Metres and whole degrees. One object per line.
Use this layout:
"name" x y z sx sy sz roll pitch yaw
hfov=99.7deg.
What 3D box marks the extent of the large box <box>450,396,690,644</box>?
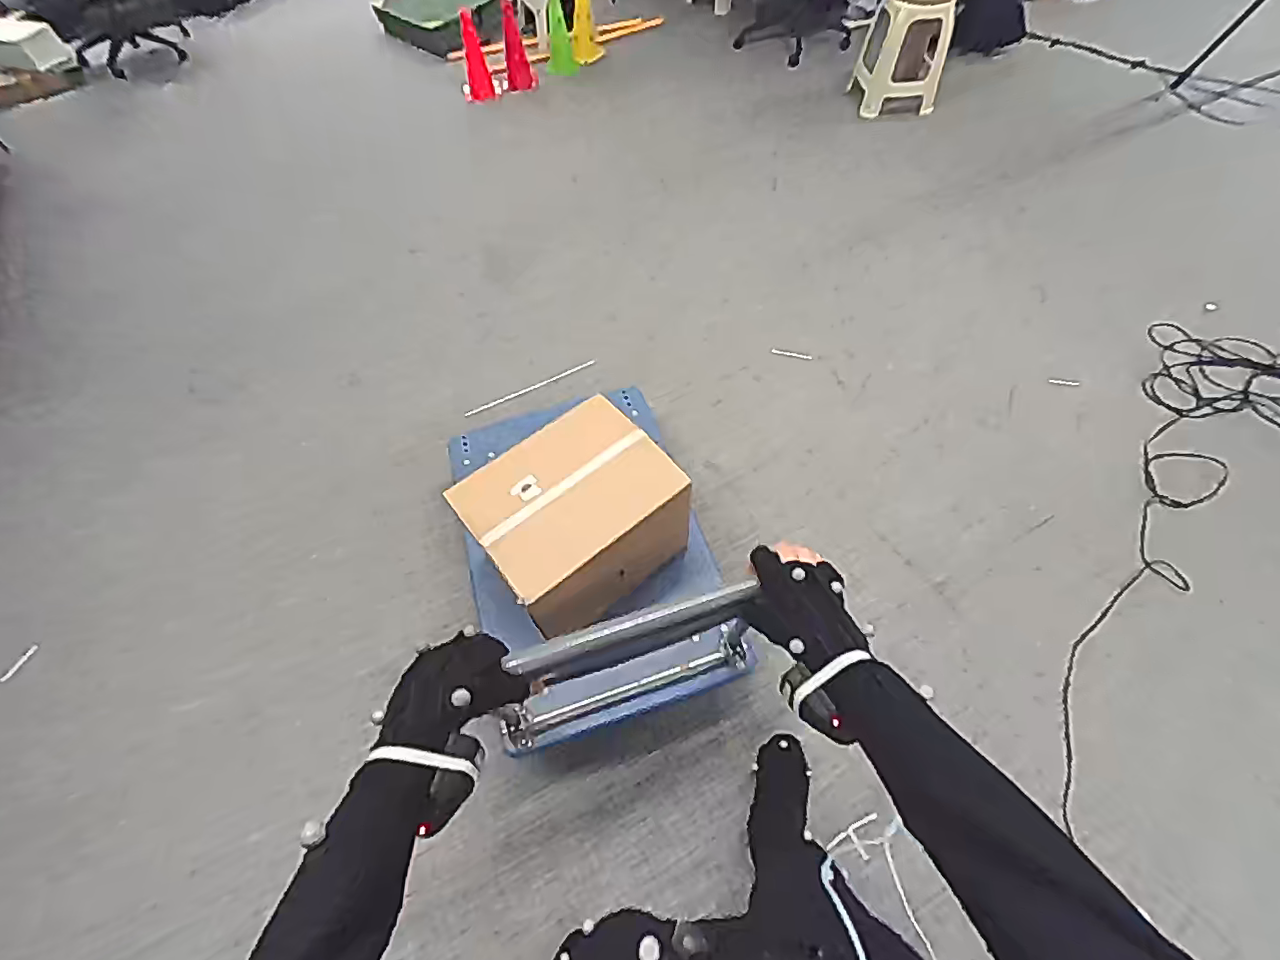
"large box" -0.134 0.095 1.224 0.408 0.320 0.320 -37 63 -17
